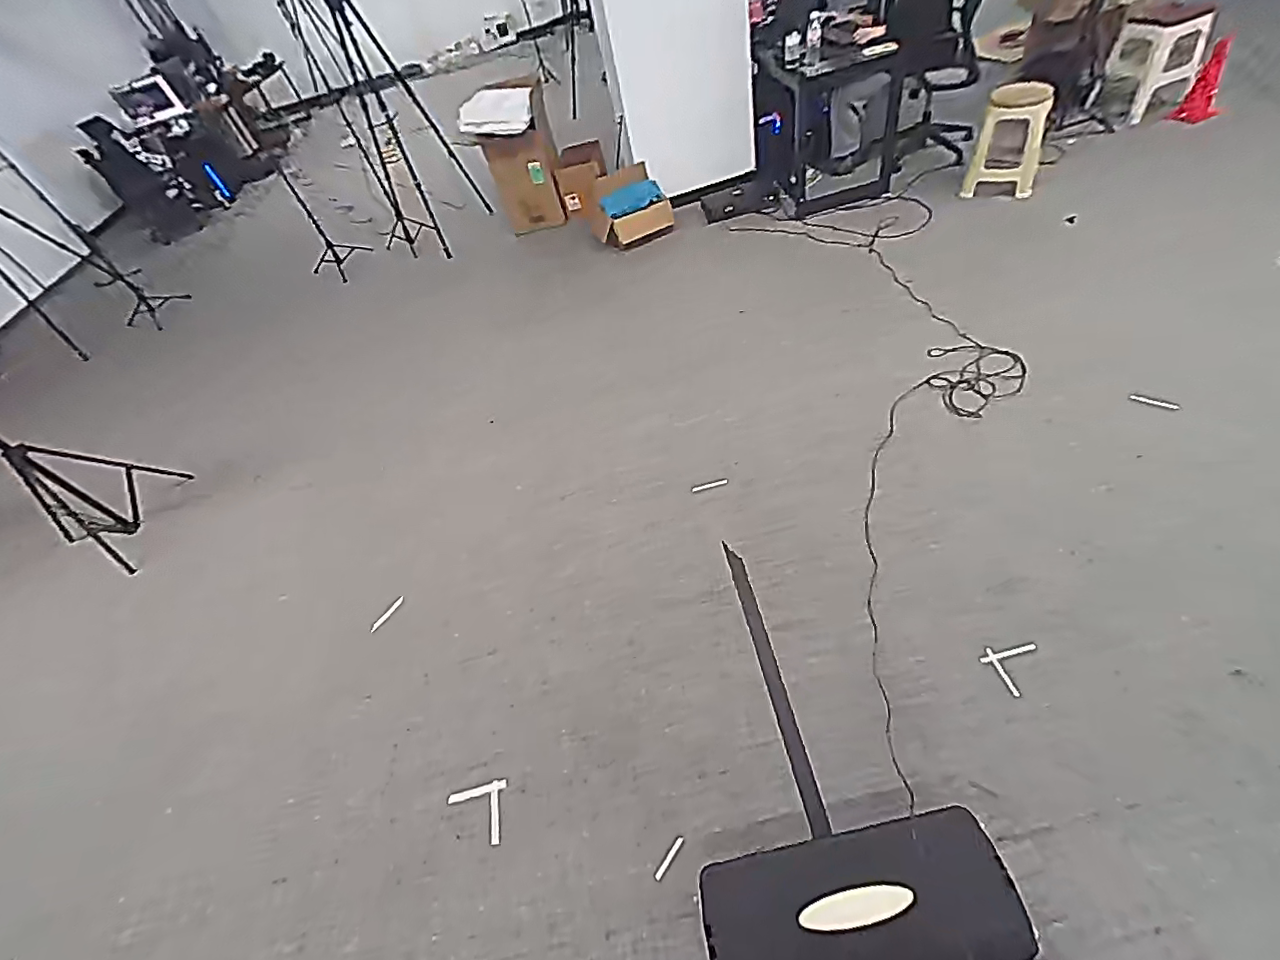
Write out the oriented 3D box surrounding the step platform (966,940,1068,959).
[{"bbox_3d":[0.521,1.102,0.993,0.684,0.204,0.286,-17,47,3],"label":"step platform"}]
